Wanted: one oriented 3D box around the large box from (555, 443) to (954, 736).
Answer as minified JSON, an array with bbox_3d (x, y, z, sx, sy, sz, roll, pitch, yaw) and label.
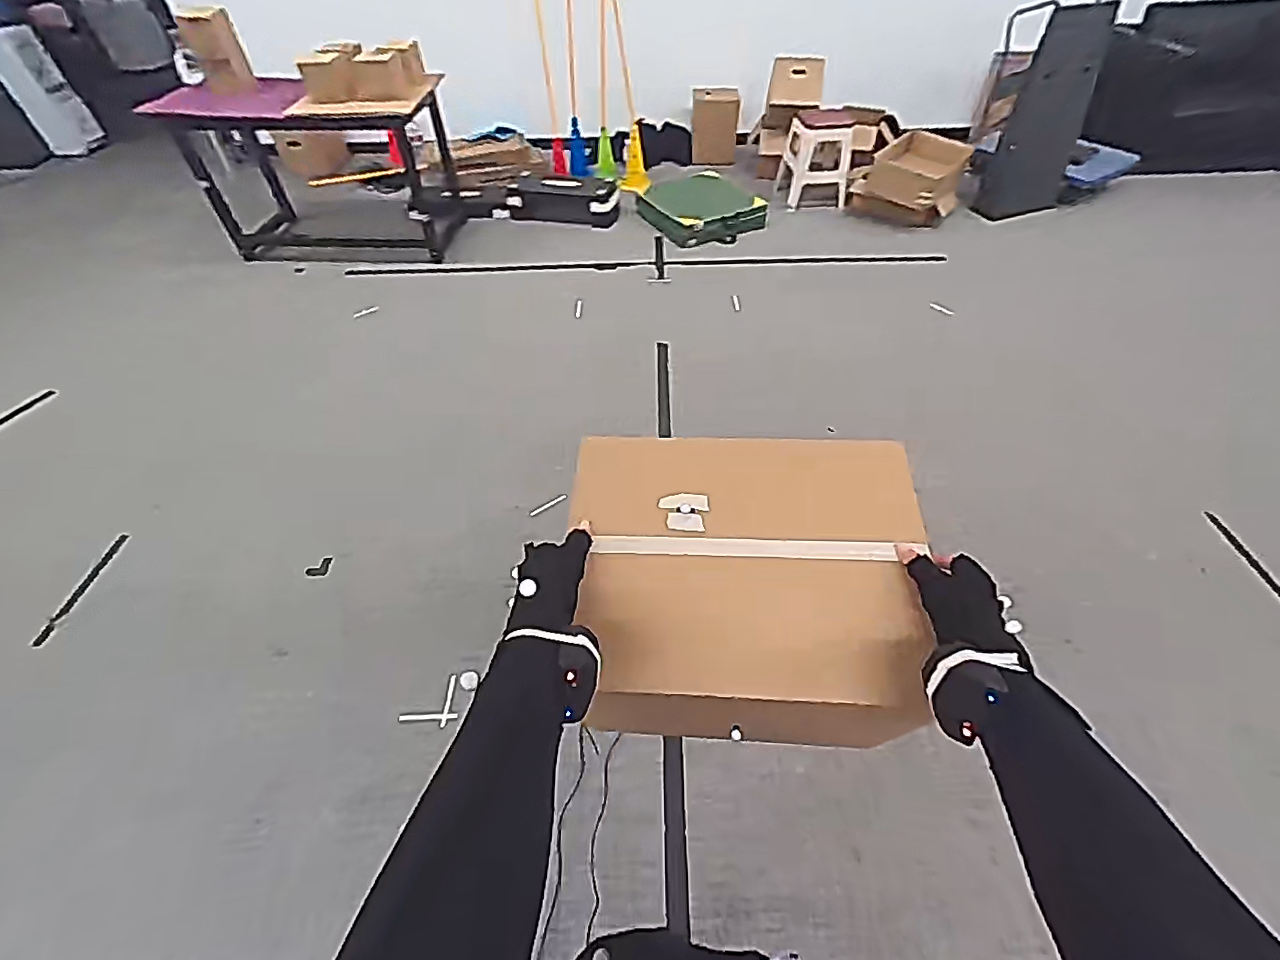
[{"bbox_3d":[0.128,0.163,0.743,0.408,0.320,0.320,0,57,5],"label":"large box"}]
